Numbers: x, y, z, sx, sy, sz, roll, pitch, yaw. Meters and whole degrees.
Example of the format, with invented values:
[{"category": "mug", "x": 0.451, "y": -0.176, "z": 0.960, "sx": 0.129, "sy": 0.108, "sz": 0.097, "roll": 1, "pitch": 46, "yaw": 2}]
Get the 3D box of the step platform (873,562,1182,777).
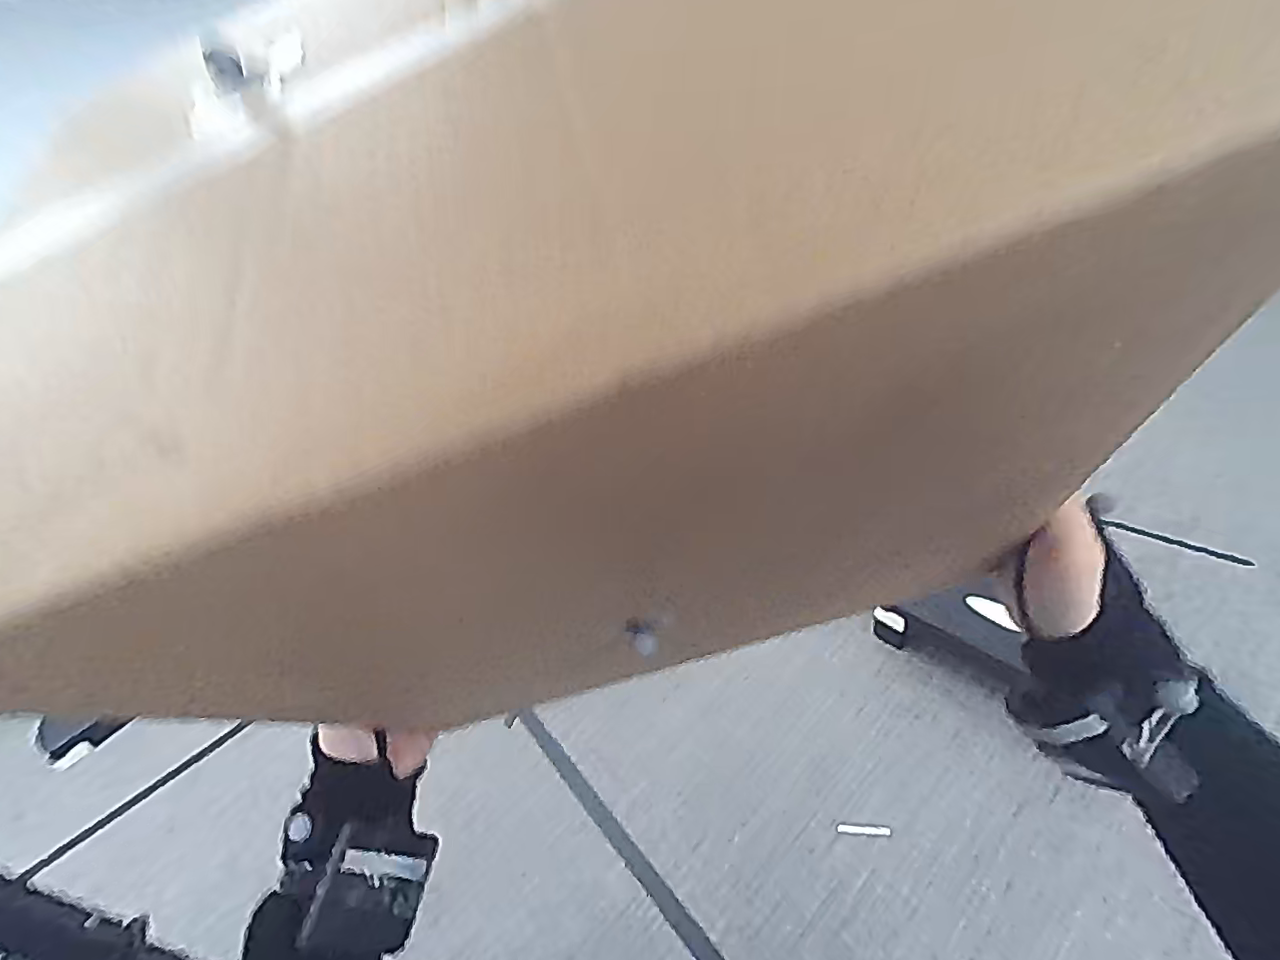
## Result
[{"category": "step platform", "x": 1.009, "y": 0.441, "z": 1.492, "sx": 0.286, "sy": 0.204, "sz": 0.684, "roll": -32, "pitch": 36, "yaw": -21}]
